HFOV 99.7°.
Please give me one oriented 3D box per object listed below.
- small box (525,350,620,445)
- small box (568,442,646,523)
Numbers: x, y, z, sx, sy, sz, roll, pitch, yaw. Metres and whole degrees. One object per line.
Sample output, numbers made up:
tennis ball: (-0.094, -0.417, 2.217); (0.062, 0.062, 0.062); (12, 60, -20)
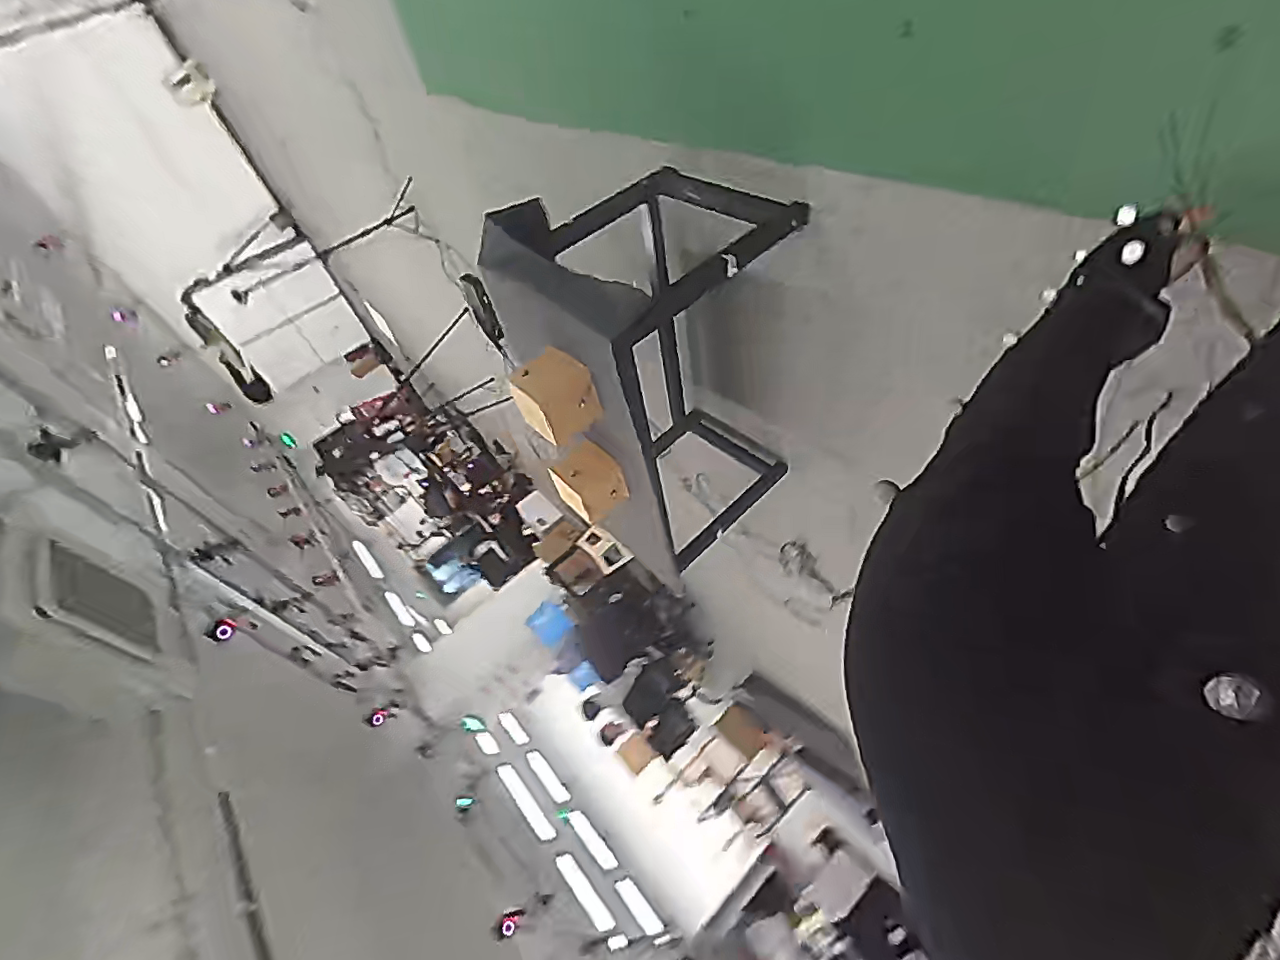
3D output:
small box: (-0.181, -0.235, 1.495); (0.179, 0.176, 0.168); (38, 159, 37)
small box: (-0.106, 0.001, 1.780); (0.179, 0.176, 0.168); (38, 158, 35)
